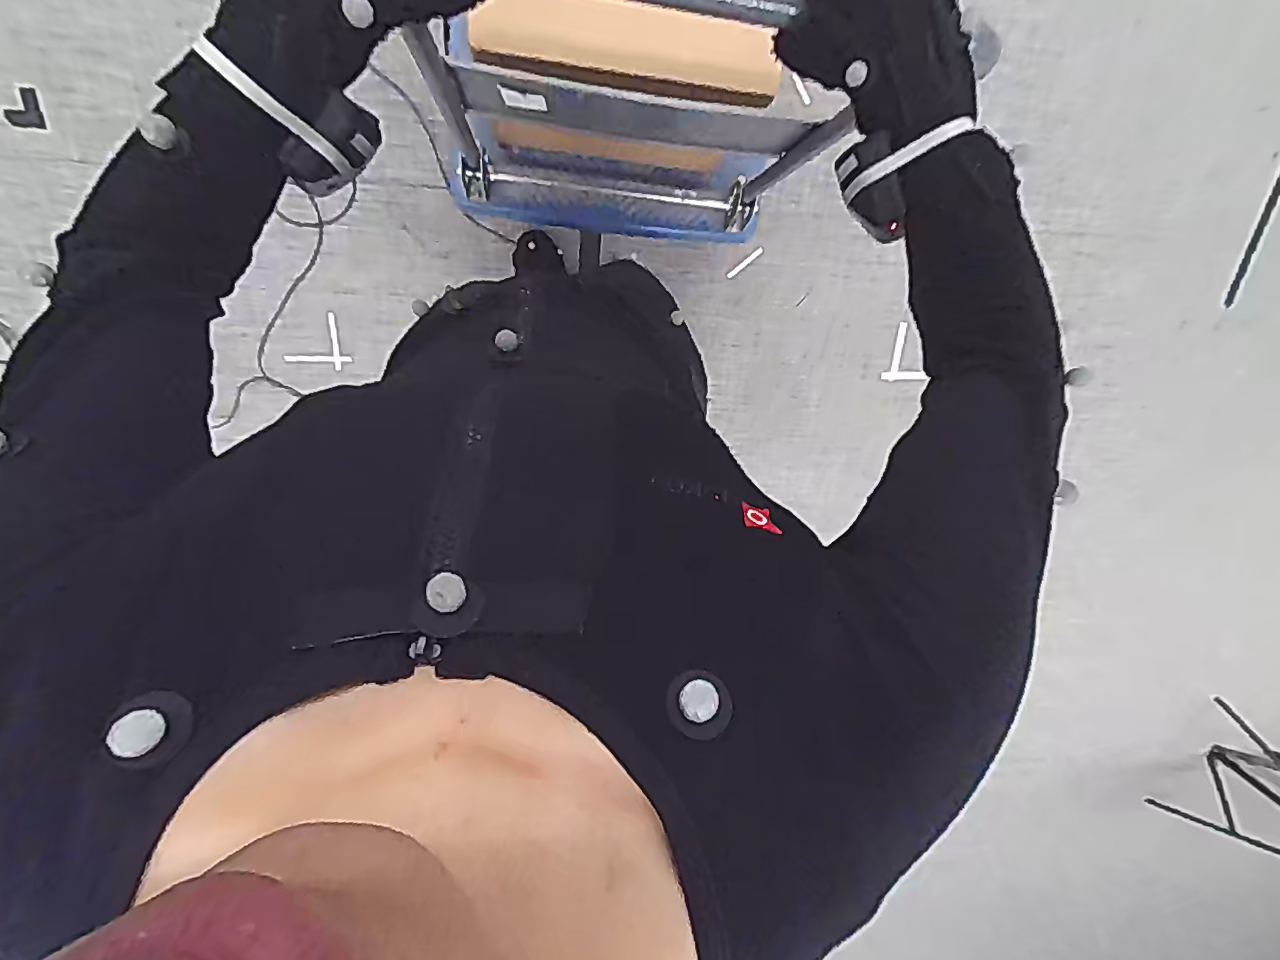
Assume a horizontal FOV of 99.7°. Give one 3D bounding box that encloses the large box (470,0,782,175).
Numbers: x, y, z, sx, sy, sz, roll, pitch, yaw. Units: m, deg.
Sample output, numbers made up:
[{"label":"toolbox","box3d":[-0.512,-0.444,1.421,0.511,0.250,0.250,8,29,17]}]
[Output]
[{"label":"large box","box3d":[-0.032,-0.692,0.811,0.408,0.320,0.320,2,103,-10]}]
